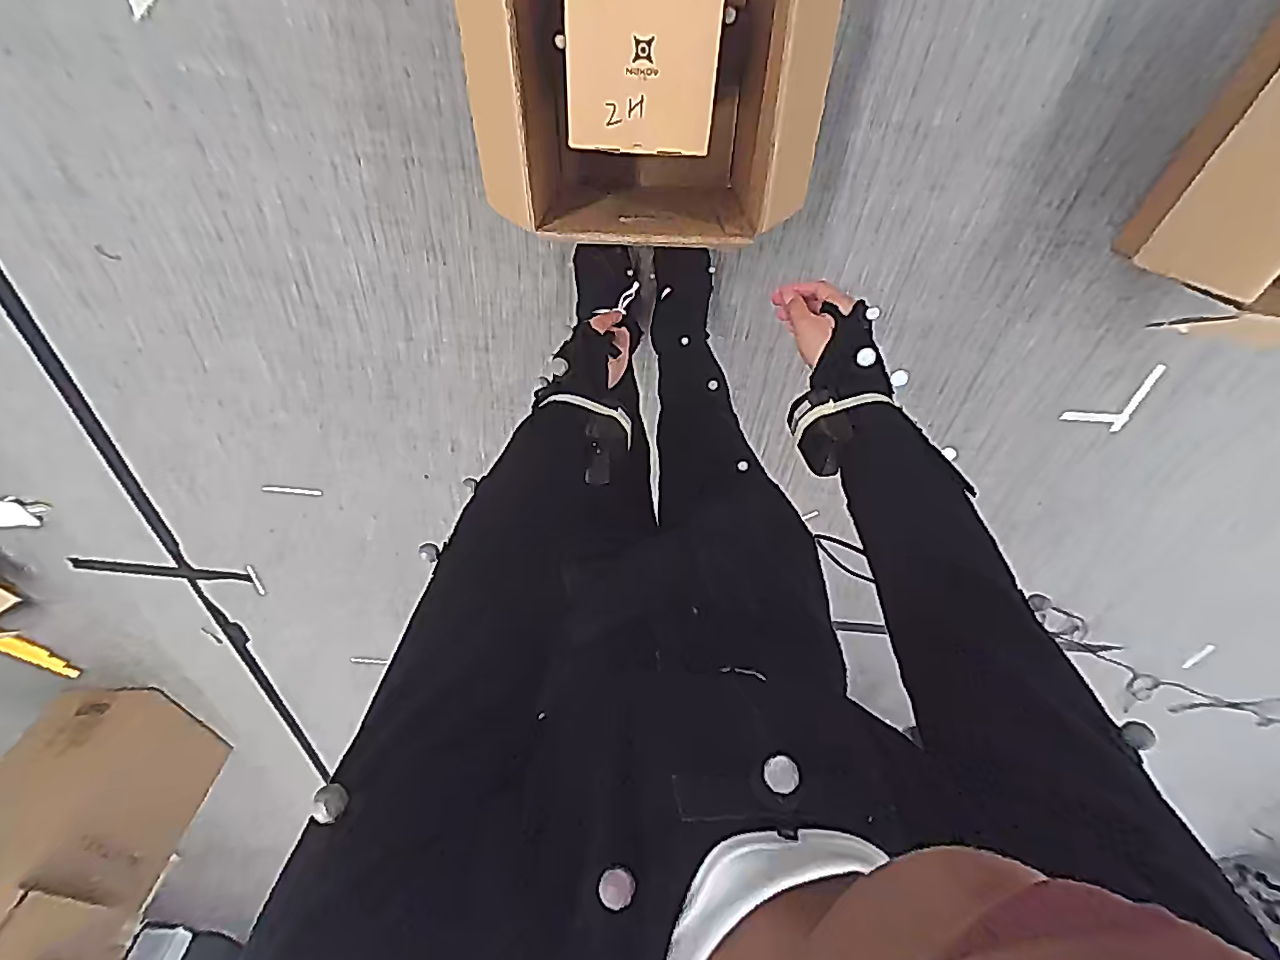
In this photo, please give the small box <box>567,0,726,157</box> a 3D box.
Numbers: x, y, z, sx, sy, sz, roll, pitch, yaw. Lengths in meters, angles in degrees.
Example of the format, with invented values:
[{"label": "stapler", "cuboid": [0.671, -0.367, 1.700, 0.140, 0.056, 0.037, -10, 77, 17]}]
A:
[{"label": "small box", "cuboid": [0.003, -0.504, 0.644, 0.168, 0.176, 0.179, 3, 130, -1]}]
